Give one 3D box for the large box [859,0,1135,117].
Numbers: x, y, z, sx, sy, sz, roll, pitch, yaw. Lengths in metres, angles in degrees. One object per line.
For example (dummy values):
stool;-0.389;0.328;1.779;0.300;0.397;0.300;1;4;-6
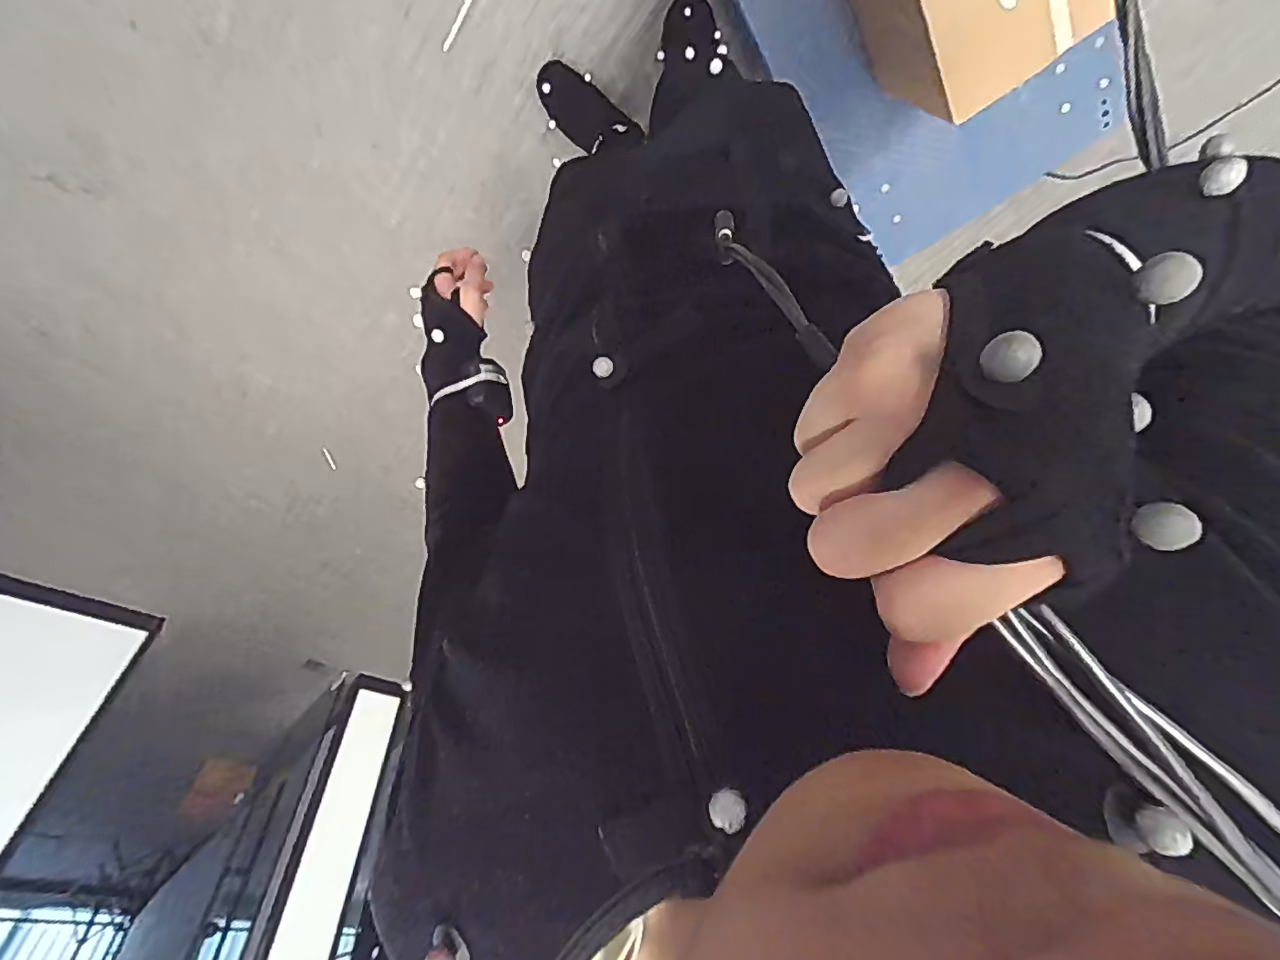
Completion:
large box;0.504;-0.853;0.792;0.320;0.320;0.408;-29;129;23
